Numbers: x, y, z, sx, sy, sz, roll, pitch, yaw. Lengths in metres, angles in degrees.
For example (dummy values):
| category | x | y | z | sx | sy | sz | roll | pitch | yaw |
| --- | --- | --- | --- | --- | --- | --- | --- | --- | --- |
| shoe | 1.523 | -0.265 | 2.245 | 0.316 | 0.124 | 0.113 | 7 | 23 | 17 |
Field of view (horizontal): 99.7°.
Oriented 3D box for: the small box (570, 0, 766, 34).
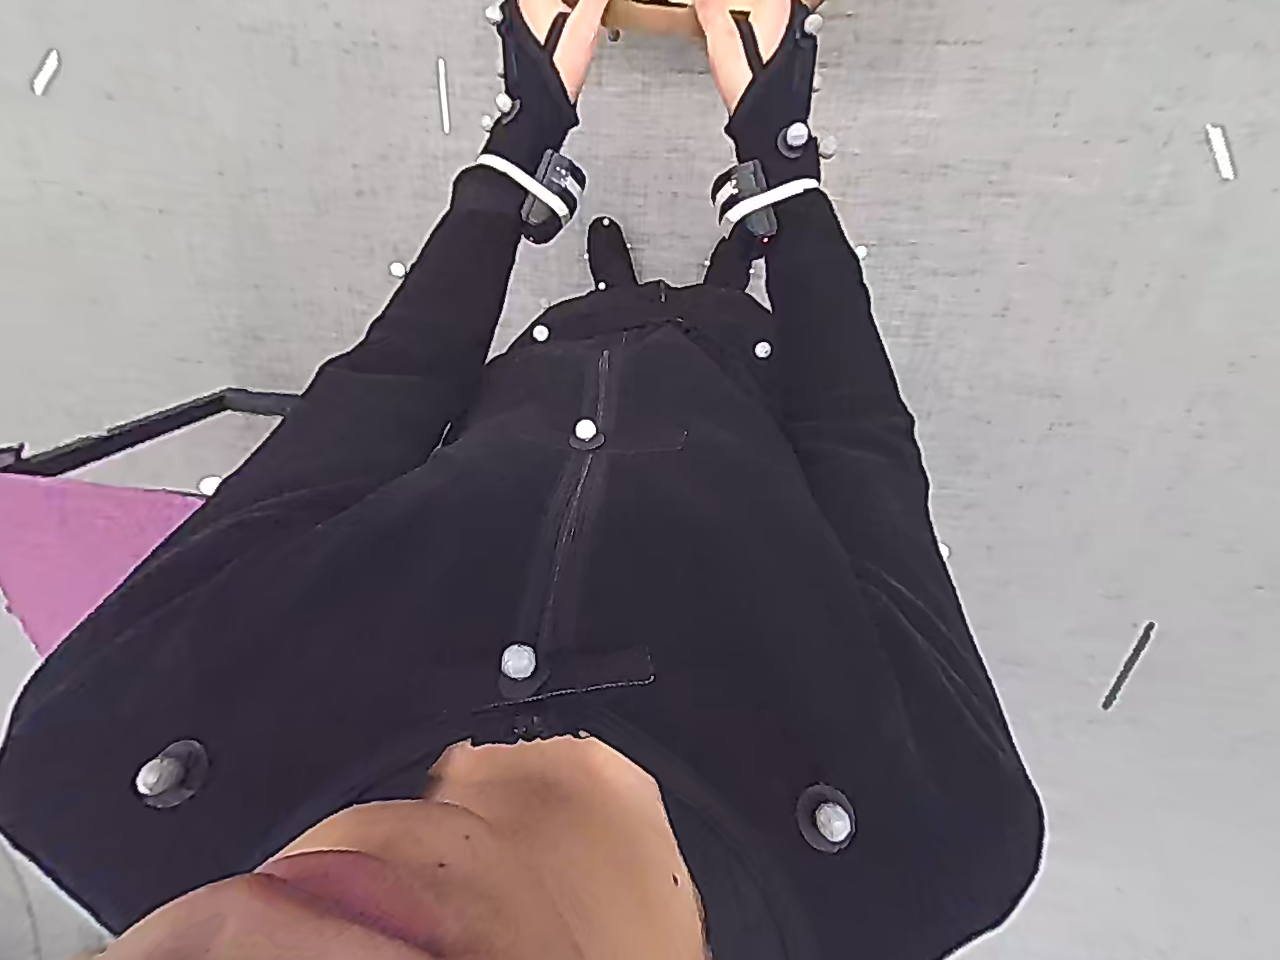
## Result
| category | x | y | z | sx | sy | sz | roll | pitch | yaw |
| --- | --- | --- | --- | --- | --- | --- | --- | --- | --- |
| small box | 0.027 | -0.474 | 0.423 | 0.168 | 0.176 | 0.179 | 5 | 124 | 0 |
